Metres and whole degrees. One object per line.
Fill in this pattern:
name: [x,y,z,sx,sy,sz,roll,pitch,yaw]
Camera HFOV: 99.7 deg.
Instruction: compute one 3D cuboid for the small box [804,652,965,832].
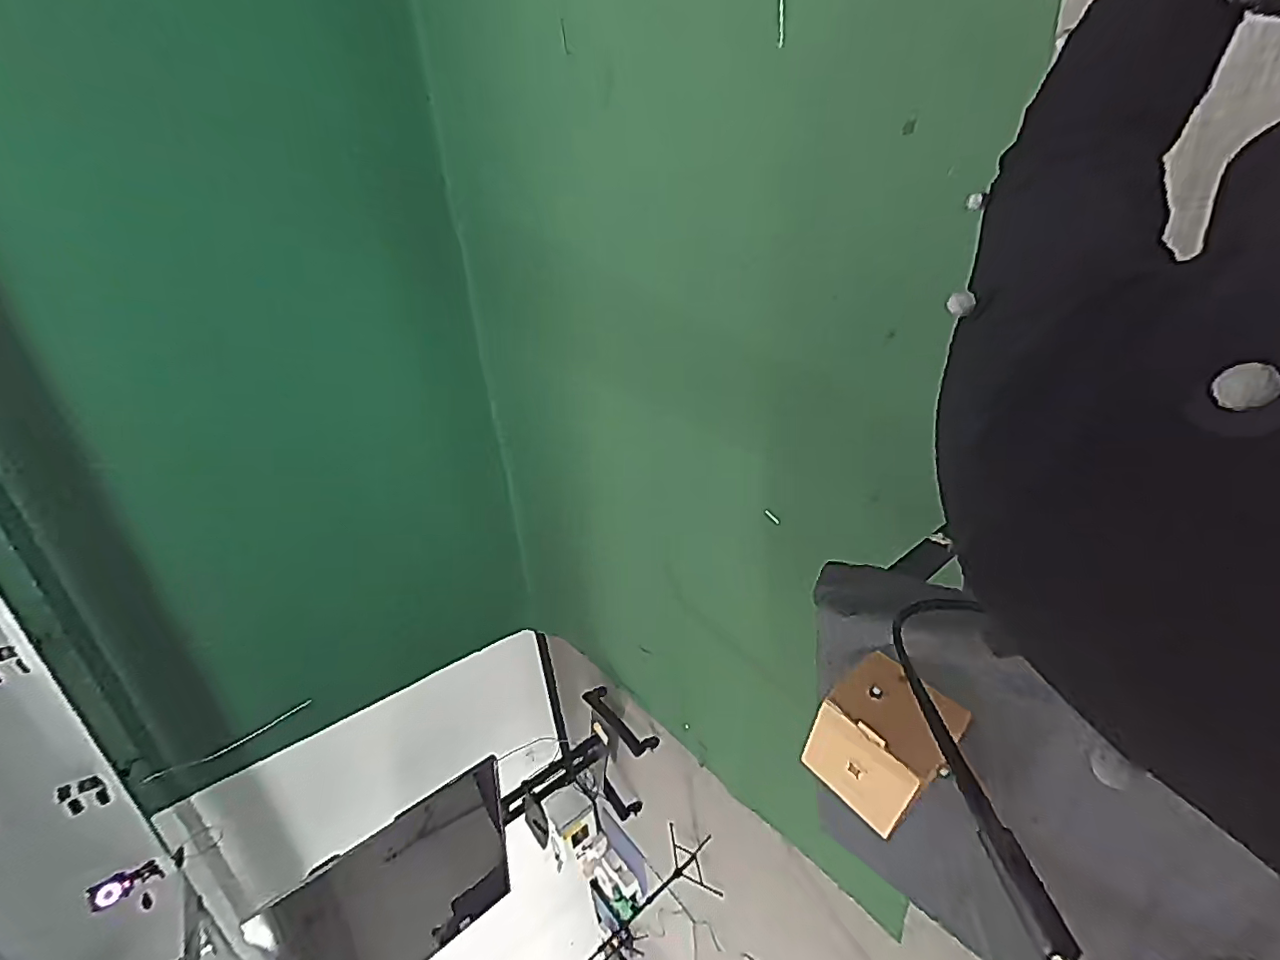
small box: [0.406,0.425,0.902,0.168,0.176,0.179,35,137,40]
